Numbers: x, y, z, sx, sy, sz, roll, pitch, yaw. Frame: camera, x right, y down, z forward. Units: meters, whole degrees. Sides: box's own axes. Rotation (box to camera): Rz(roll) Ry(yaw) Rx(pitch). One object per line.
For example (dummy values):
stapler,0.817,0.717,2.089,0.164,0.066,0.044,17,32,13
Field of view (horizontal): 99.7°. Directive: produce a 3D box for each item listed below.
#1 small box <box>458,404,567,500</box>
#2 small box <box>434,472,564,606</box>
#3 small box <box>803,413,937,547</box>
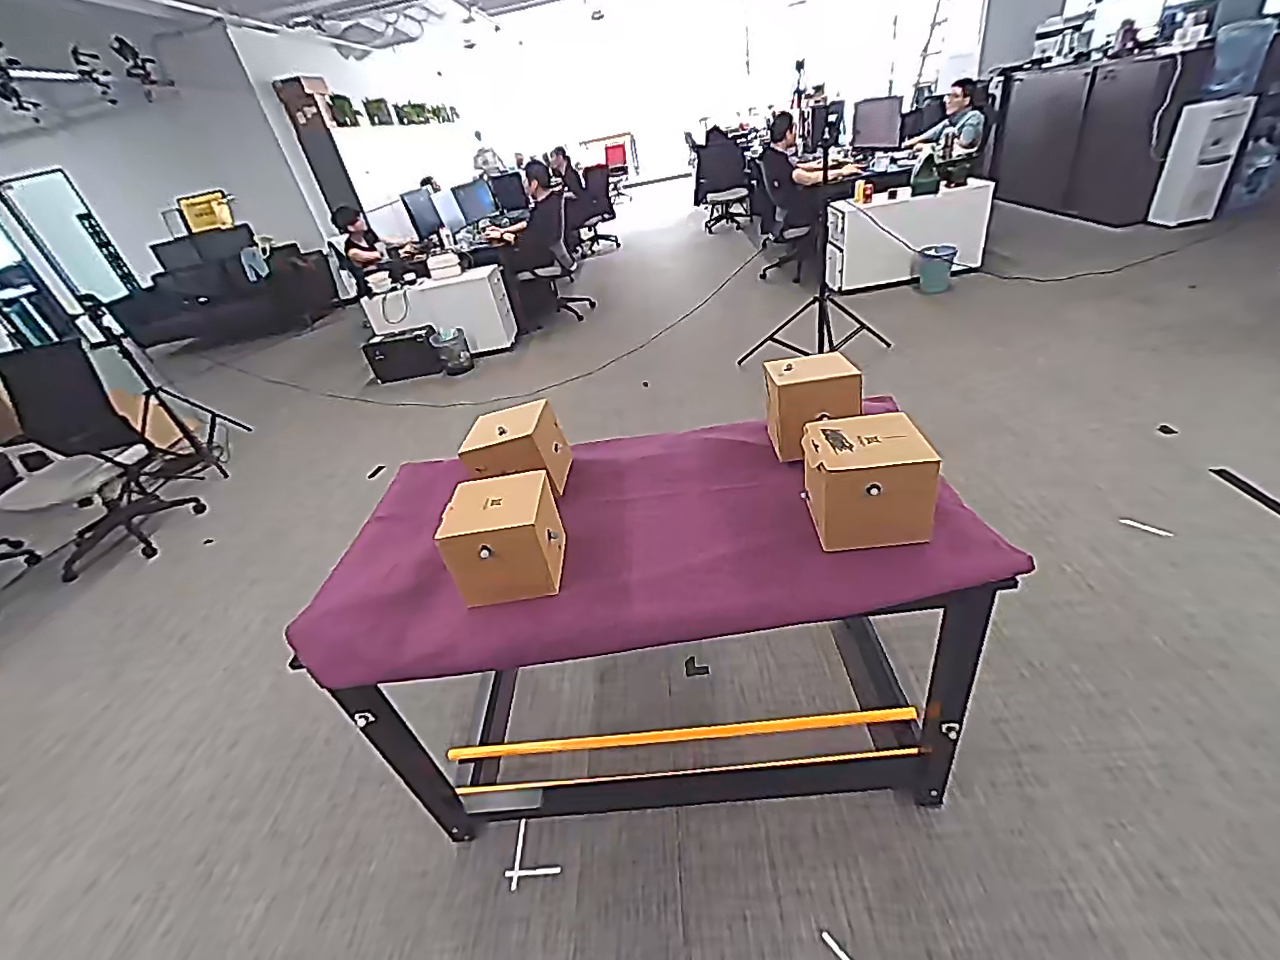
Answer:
small box,-0.273,-0.052,1.217,0.179,0.168,0.176,-13,32,12
small box,-0.245,0.109,0.995,0.179,0.176,0.168,-9,33,4
small box,0.391,0.002,0.947,0.179,0.176,0.168,-7,33,7
